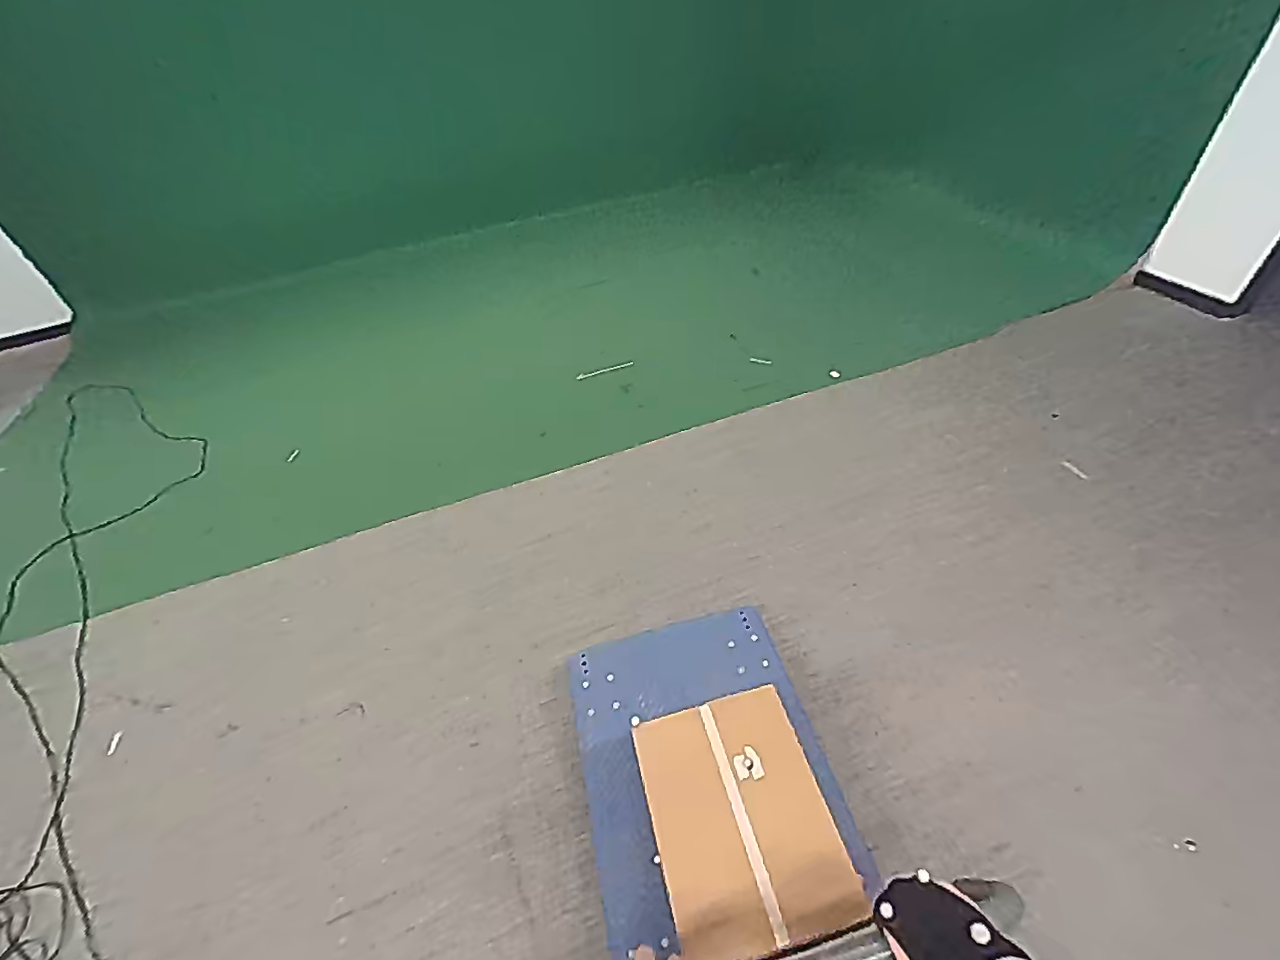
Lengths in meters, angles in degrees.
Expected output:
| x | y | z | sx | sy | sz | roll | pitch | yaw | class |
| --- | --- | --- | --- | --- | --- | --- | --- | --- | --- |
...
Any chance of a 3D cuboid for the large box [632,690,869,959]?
| x | y | z | sx | sy | sz | roll | pitch | yaw | class |
| --- | --- | --- | --- | --- | --- | --- | --- | --- | --- |
| 0.198 | 0.718 | 1.095 | 0.320 | 0.320 | 0.408 | -14 | 43 | -5 | large box |
